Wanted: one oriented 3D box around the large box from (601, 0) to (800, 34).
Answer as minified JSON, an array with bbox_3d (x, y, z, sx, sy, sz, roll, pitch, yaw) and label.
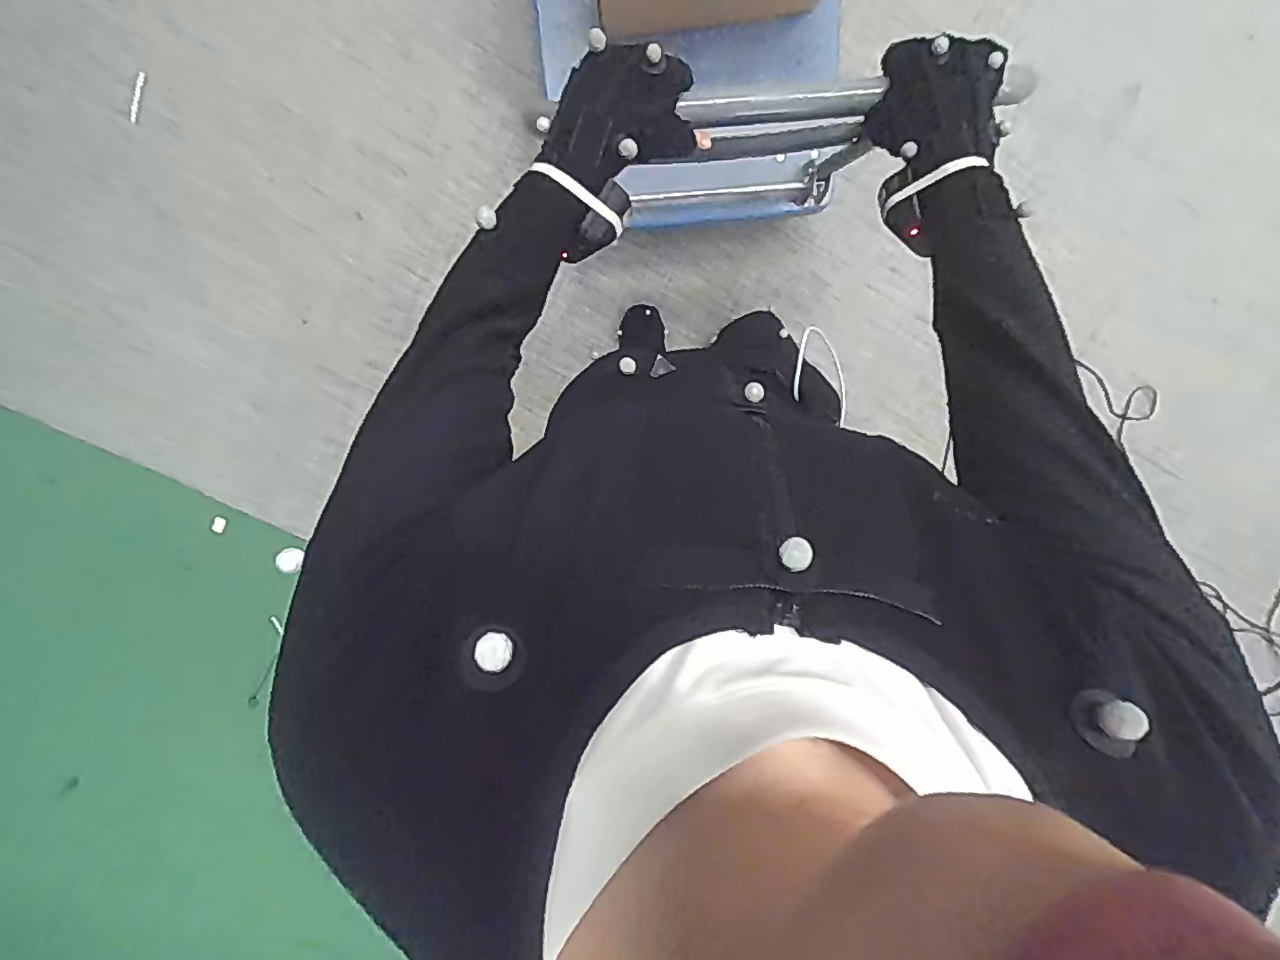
[{"bbox_3d":[0.113,-0.970,0.842,0.408,0.320,0.320,-7,109,3],"label":"large box"}]
